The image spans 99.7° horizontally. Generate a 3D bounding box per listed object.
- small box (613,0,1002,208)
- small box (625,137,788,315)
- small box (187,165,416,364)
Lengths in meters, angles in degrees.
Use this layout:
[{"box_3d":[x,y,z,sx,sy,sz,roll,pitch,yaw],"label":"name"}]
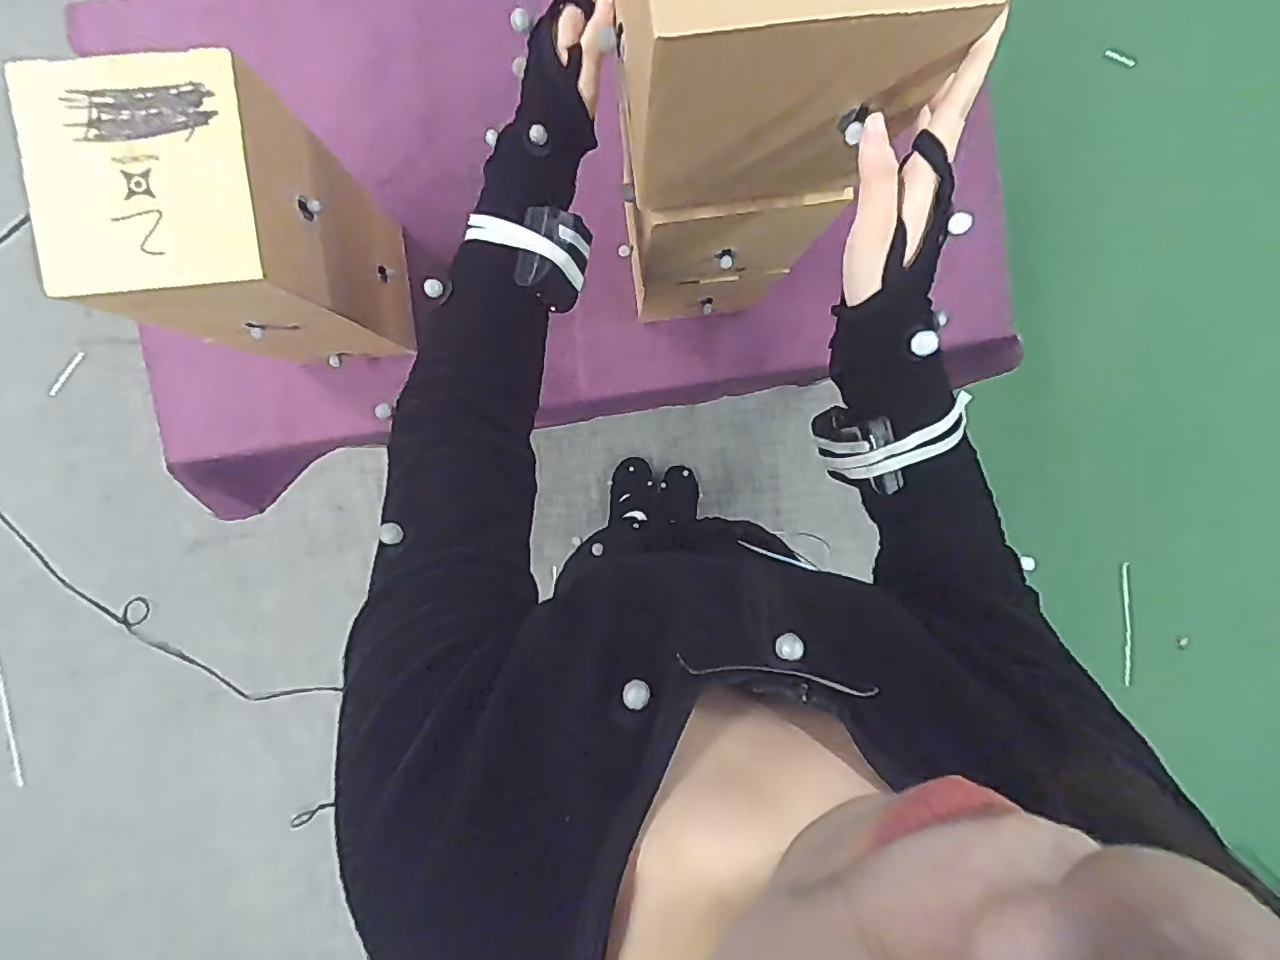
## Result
[{"box_3d":[0.078,-0.295,0.337,0.179,0.176,0.168,-7,91,-3],"label":"small box"},{"box_3d":[0.073,-0.311,0.671,0.168,0.176,0.179,-8,95,-2],"label":"small box"},{"box_3d":[-0.390,-0.247,0.655,0.168,0.176,0.179,-6,95,-2],"label":"small box"}]
